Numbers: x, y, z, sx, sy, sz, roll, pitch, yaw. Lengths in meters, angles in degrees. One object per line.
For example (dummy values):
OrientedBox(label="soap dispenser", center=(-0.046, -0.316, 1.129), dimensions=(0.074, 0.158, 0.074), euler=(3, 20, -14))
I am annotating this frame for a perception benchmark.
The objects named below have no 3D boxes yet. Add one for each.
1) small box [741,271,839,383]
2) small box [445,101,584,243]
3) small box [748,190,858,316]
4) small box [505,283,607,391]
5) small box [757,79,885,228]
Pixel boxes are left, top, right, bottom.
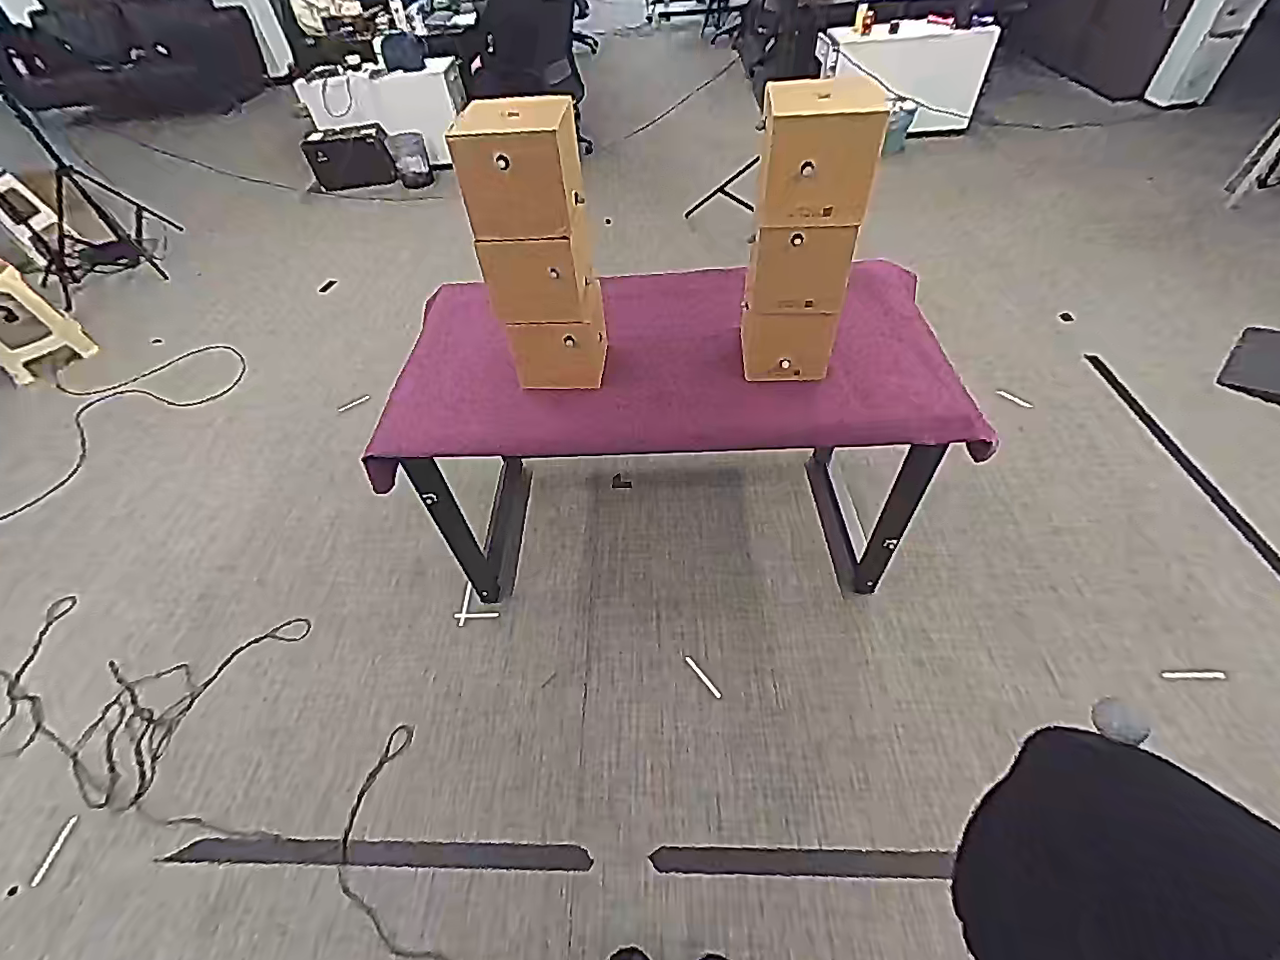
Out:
OrientedBox(label="small box", center=(0.306, -0.325, 1.144), dimensions=(0.168, 0.176, 0.179), euler=(0, 50, 5))
OrientedBox(label="small box", center=(-0.201, -0.521, 0.924), dimensions=(0.179, 0.176, 0.168), euler=(0, 50, 4))
OrientedBox(label="small box", center=(0.294, -0.429, 1.017), dimensions=(0.168, 0.176, 0.179), euler=(1, 49, 7))
OrientedBox(label="small box", center=(-0.171, -0.306, 1.168), dimensions=(0.179, 0.176, 0.168), euler=(0, 49, 5))
OrientedBox(label="small box", center=(0.284, -0.530, 0.889), dimensions=(0.168, 0.176, 0.179), euler=(1, 49, 7))
